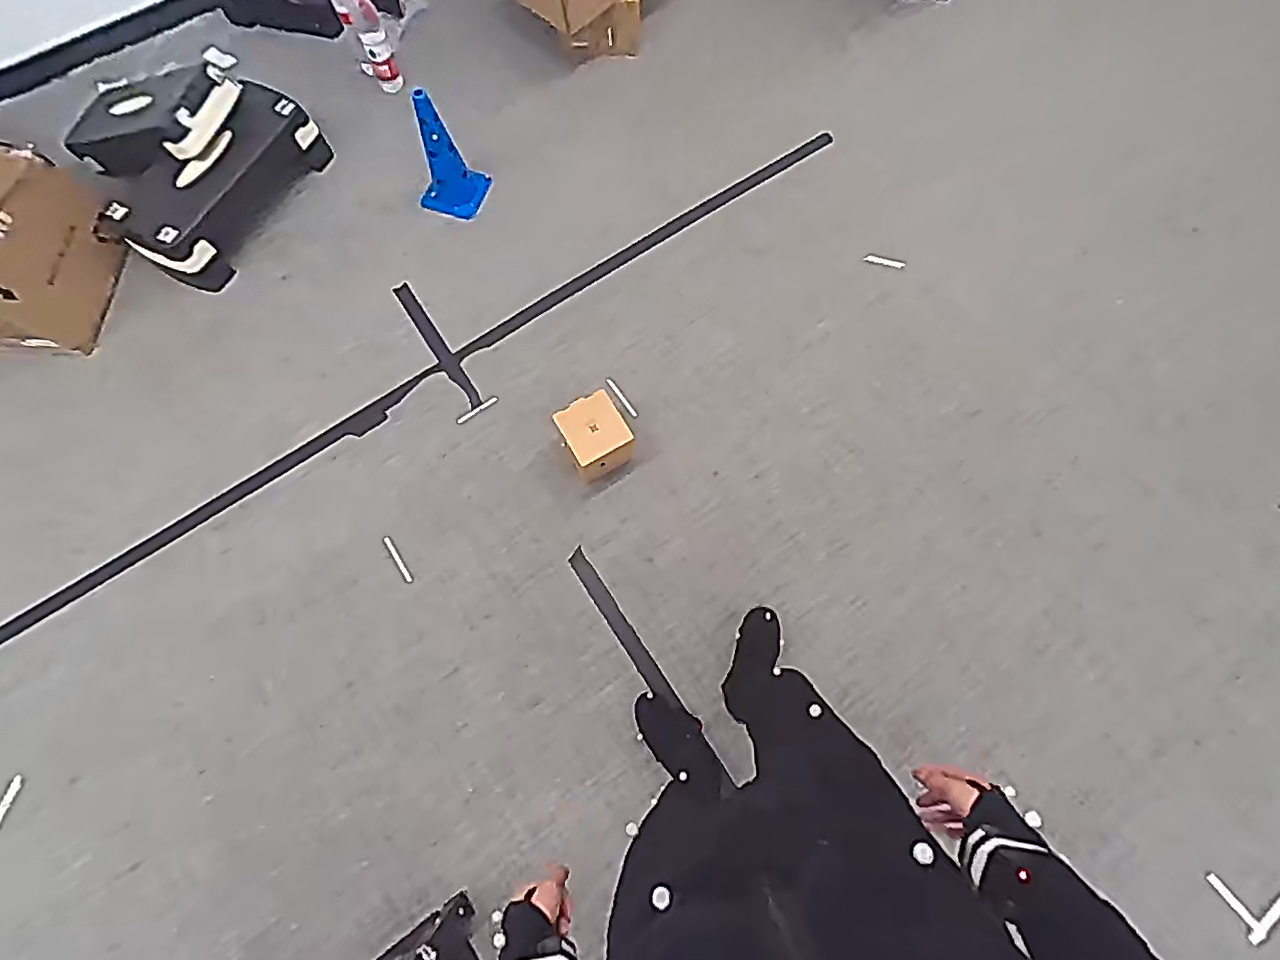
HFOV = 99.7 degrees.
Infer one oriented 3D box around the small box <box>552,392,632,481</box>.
[{"bbox_3d":[-0.130,-0.114,1.546,0.168,0.176,0.179,-30,75,-9],"label":"small box"}]
